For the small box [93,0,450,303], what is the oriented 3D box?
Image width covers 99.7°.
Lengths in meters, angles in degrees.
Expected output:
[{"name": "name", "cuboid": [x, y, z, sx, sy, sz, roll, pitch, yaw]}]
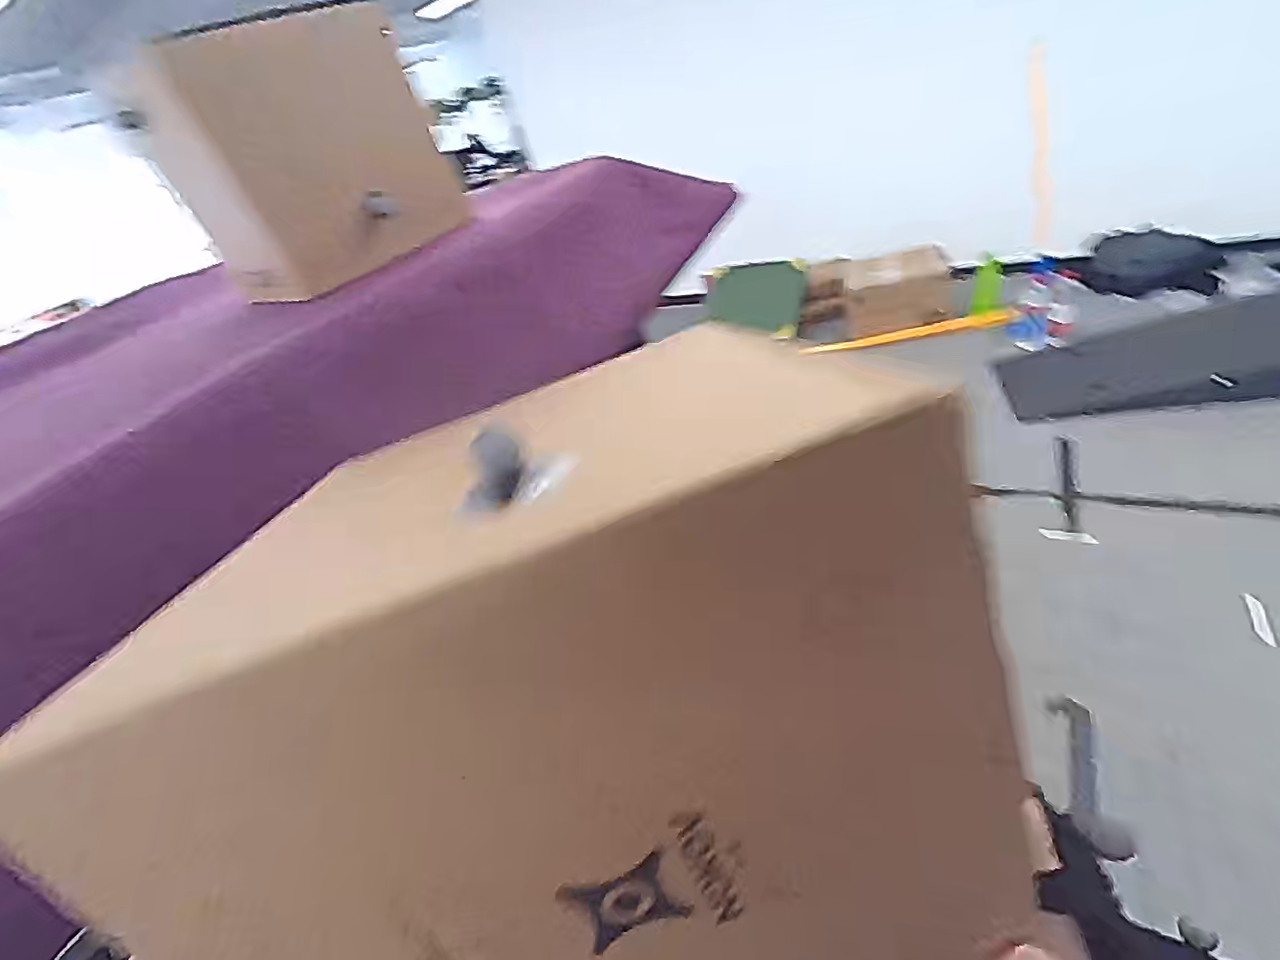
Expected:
[{"name": "small box", "cuboid": [-0.292, -0.267, 0.462, 0.168, 0.176, 0.179, 13, 48, 39]}]

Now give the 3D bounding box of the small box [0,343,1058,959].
[{"name": "small box", "cuboid": [-0.007, 0.060, 0.189, 0.179, 0.168, 0.176, -21, 19, -1]}]
